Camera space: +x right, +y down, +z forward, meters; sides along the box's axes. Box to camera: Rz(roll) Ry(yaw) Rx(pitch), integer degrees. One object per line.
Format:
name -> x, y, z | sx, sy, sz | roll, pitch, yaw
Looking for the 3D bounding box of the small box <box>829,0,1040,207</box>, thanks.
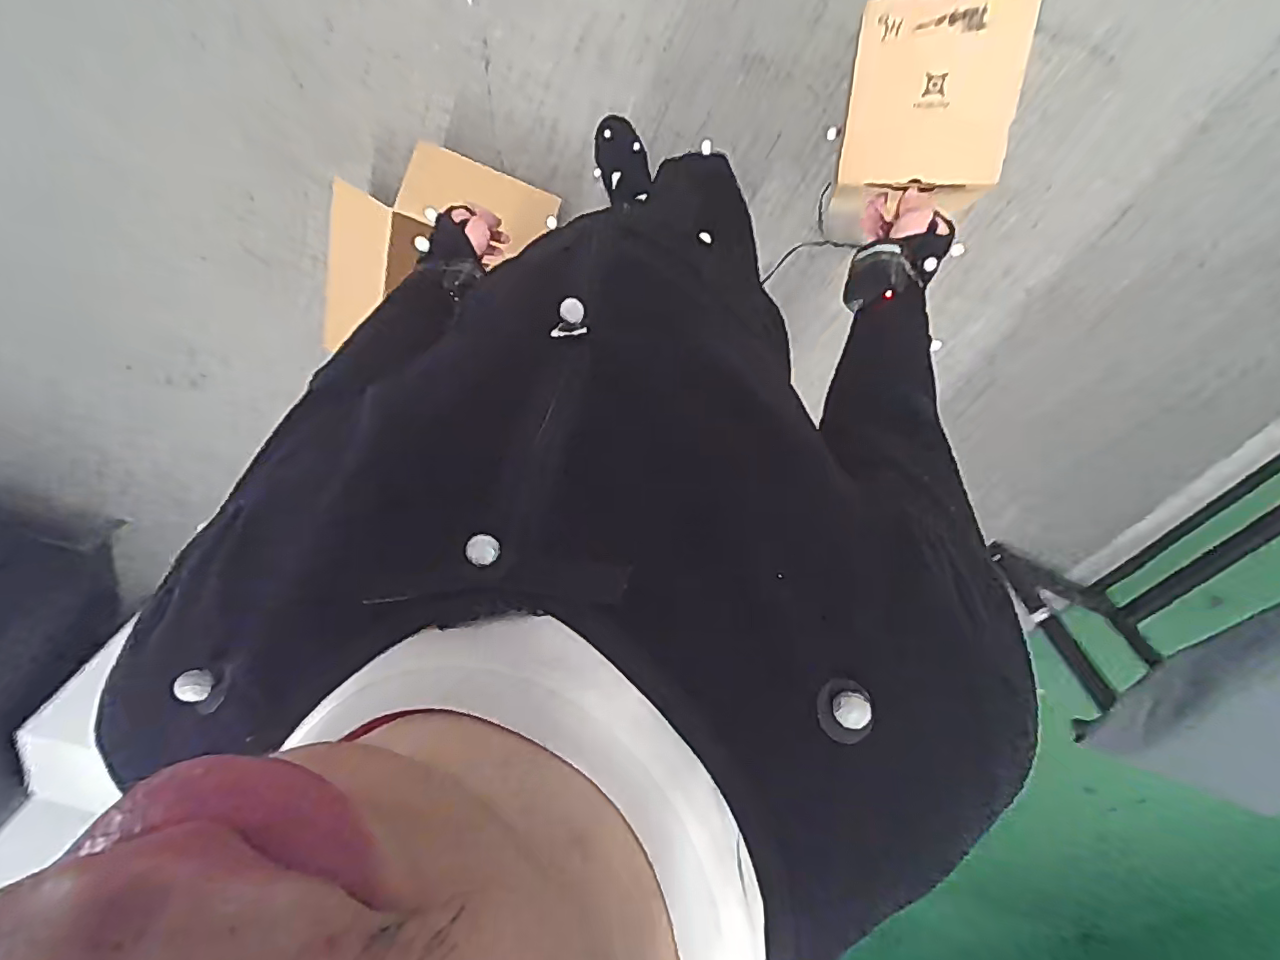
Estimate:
small box -> 0.325, -0.431, 0.641 | 0.168, 0.176, 0.179 | 9, 111, 12
